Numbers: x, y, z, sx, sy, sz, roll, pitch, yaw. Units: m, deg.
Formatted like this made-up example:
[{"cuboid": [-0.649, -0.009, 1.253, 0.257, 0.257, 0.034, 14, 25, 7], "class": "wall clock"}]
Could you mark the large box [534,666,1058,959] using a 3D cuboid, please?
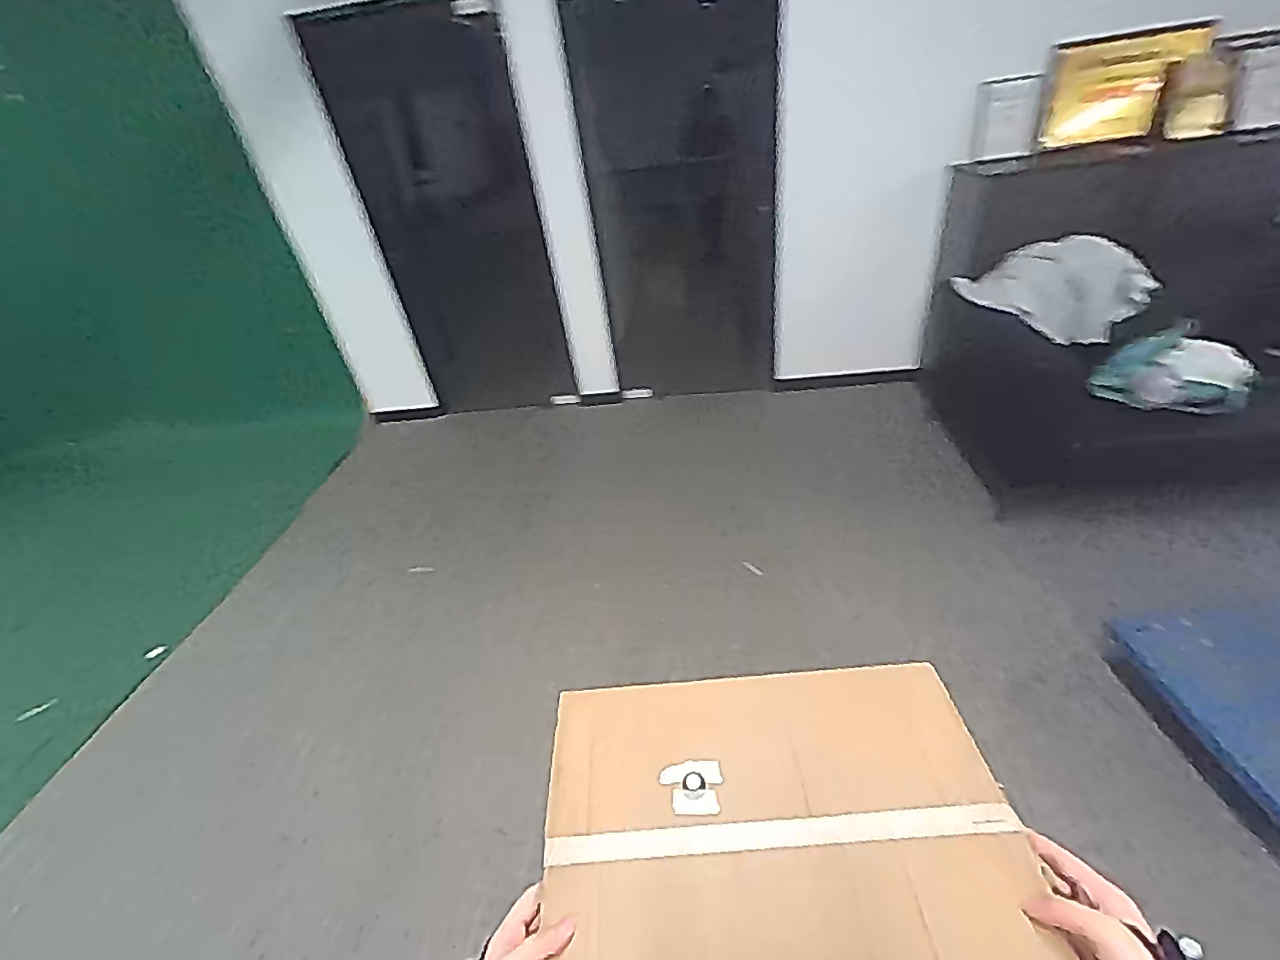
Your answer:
[{"cuboid": [0.127, 0.438, 0.568, 0.408, 0.320, 0.320, -8, 37, 2], "class": "large box"}]
